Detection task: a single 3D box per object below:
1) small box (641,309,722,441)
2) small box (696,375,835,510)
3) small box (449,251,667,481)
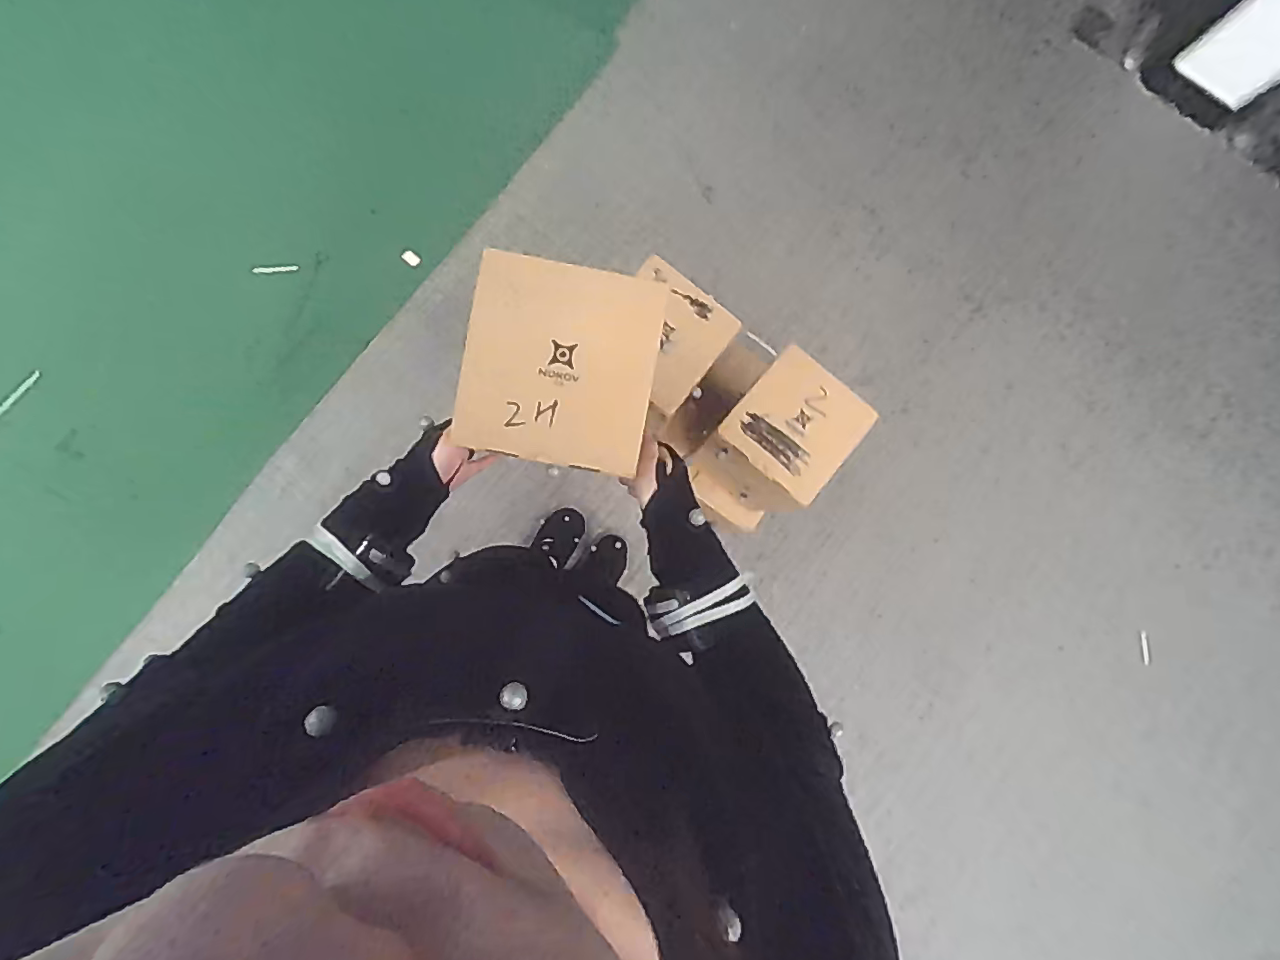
[{"bbox_3d":[0.023,-0.193,1.004,0.168,0.176,0.179,38,86,0],"label":"small box"},{"bbox_3d":[0.219,-0.058,1.002,0.168,0.176,0.179,41,84,2],"label":"small box"},{"bbox_3d":[-0.075,-0.101,0.550,0.168,0.176,0.179,11,92,-2],"label":"small box"}]
